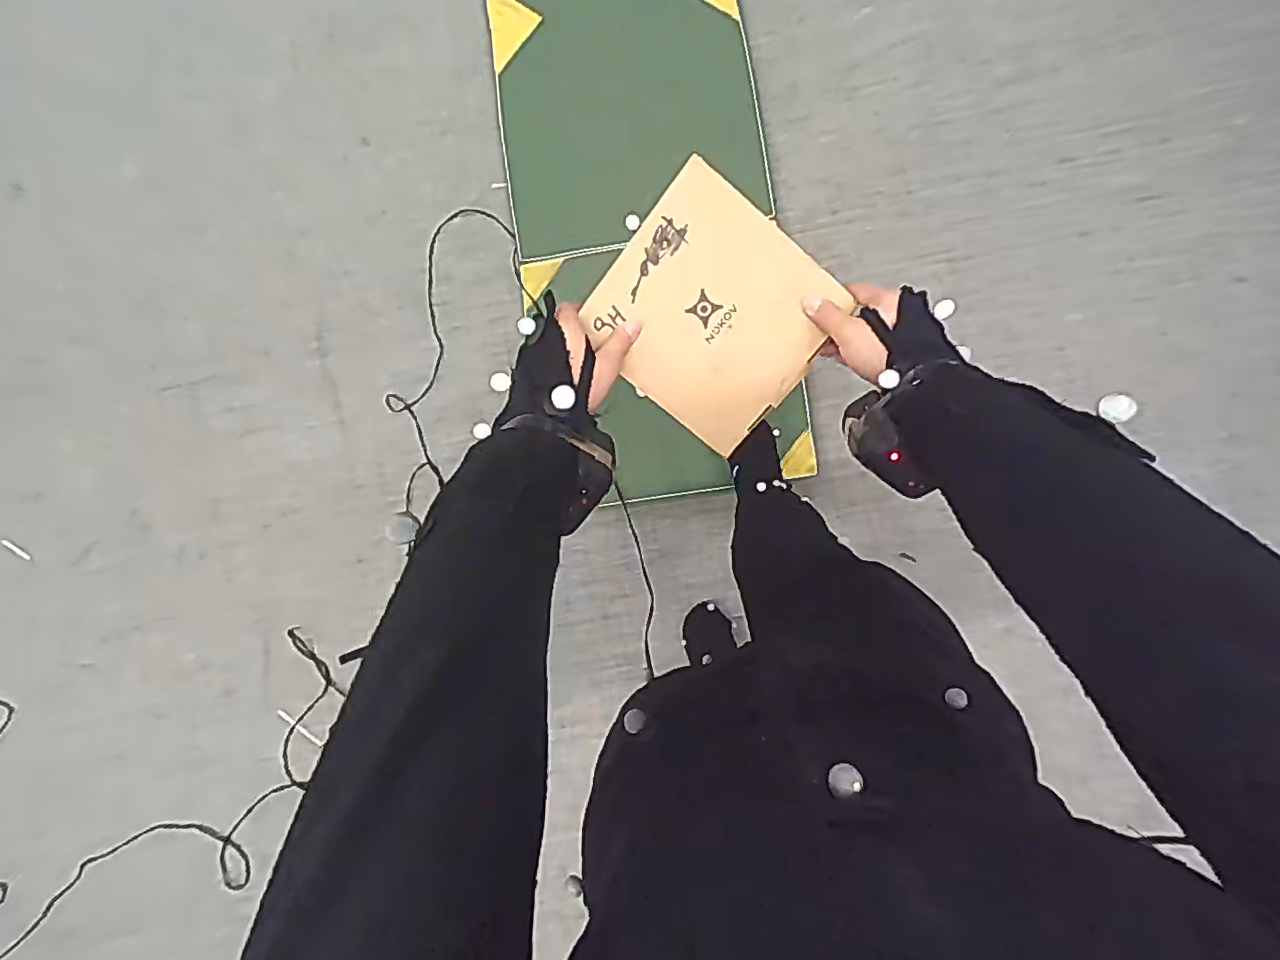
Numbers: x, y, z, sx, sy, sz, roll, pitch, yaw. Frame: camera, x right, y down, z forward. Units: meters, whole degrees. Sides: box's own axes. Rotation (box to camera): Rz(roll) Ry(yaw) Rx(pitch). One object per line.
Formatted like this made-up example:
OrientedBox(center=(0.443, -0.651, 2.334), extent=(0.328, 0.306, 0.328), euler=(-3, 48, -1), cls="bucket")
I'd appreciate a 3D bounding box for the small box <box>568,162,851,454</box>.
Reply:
OrientedBox(center=(0.057, -0.155, 0.518), extent=(0.179, 0.176, 0.168), euler=(38, 102, -9), cls="small box")
